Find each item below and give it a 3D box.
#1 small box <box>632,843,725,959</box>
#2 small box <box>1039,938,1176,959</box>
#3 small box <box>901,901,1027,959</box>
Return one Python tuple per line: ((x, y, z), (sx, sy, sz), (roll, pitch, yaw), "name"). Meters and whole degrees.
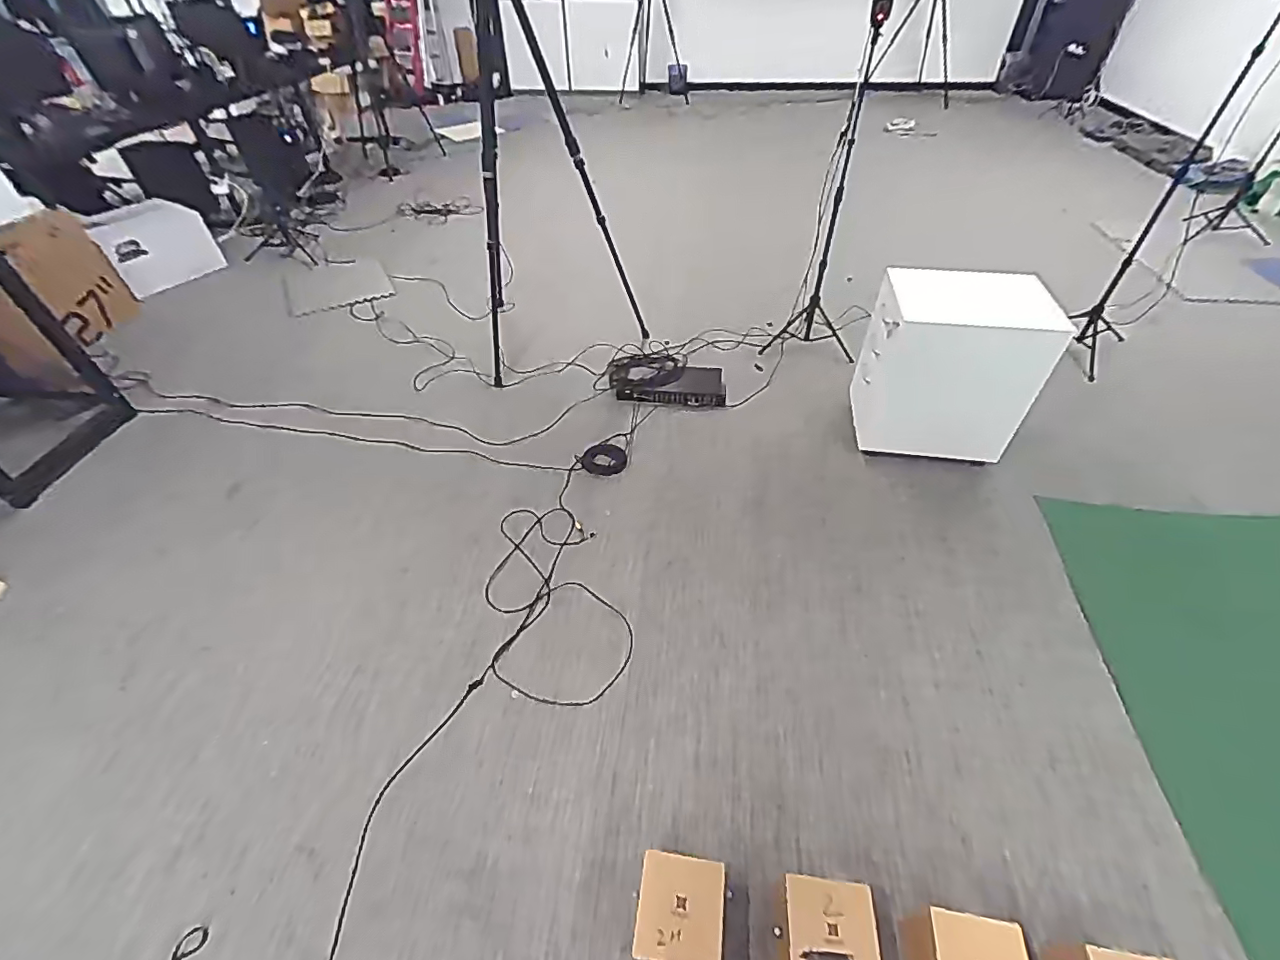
((0.078, 0.874, 1.103), (0.168, 0.176, 0.179), (6, 46, 8), "small box")
((0.882, 0.976, 0.991), (0.168, 0.176, 0.179), (6, 46, 7), "small box")
((0.619, 0.939, 1.032), (0.168, 0.176, 0.179), (7, 47, 7), "small box")
